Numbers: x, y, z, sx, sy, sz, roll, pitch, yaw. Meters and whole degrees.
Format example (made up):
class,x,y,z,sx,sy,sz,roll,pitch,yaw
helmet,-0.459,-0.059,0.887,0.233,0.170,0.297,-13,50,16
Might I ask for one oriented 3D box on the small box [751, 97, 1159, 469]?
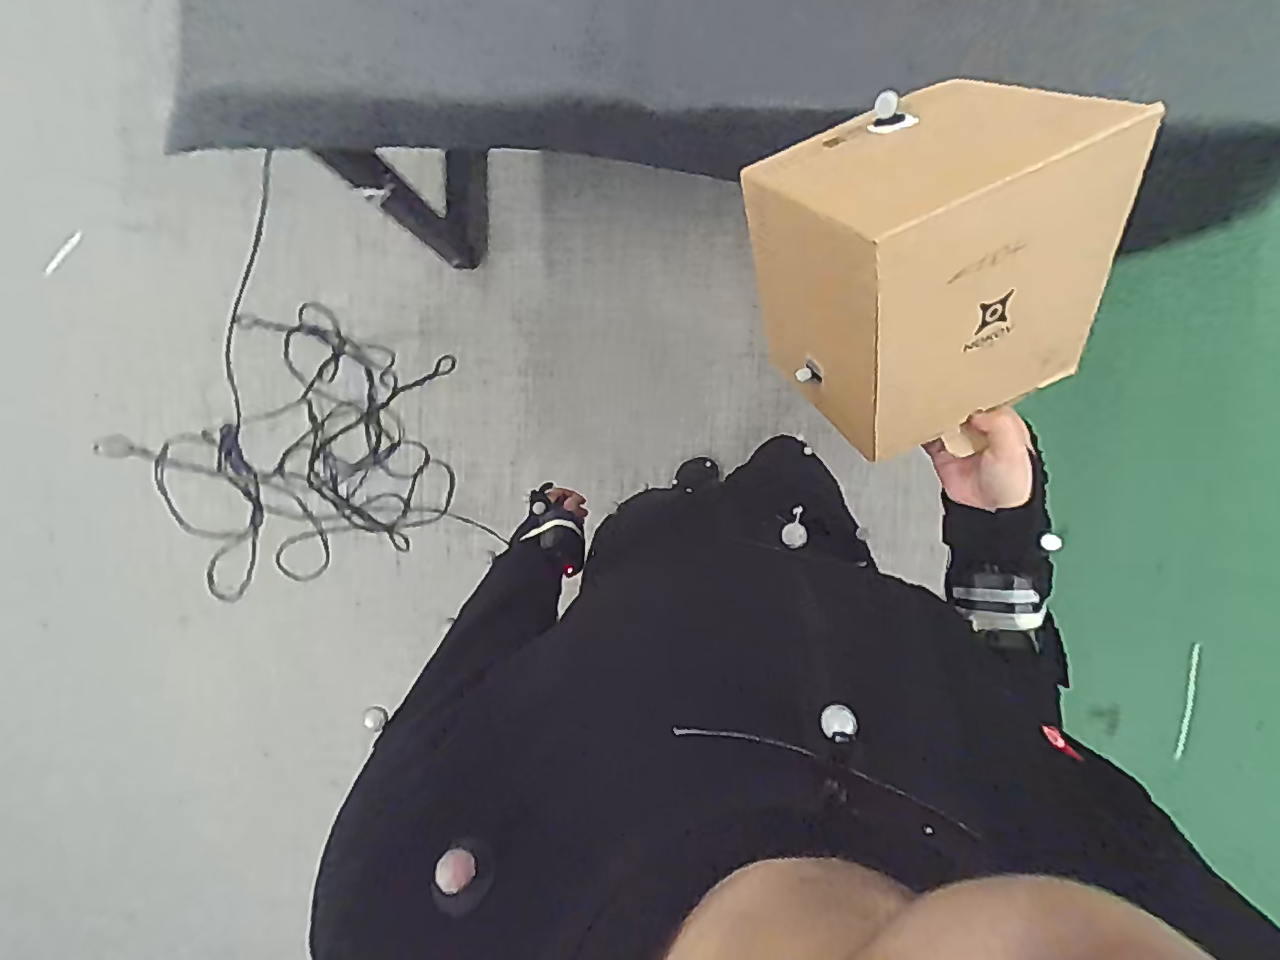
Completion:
class,x,y,z,sx,sy,sz,roll,pitch,yaw
small box,0.199,-0.146,0.397,0.168,0.176,0.179,-25,133,-1
